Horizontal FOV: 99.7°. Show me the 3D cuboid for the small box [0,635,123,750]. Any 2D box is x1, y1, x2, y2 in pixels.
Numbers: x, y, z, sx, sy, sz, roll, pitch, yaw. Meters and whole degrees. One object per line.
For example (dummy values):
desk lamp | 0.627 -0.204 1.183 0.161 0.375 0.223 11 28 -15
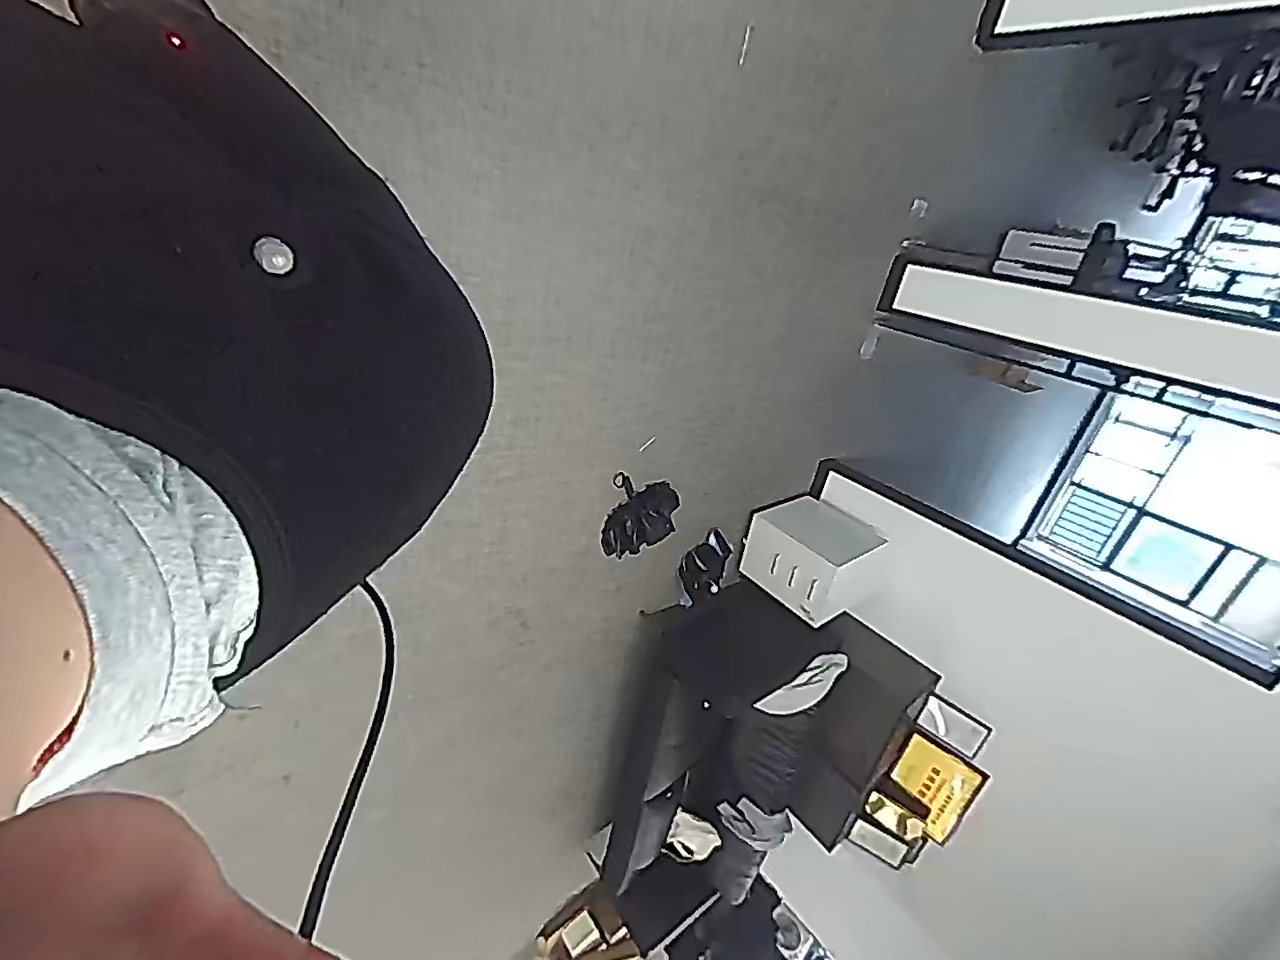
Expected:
small box | -1.382 0.498 1.277 0.179 0.176 0.168 -49 138 -7
